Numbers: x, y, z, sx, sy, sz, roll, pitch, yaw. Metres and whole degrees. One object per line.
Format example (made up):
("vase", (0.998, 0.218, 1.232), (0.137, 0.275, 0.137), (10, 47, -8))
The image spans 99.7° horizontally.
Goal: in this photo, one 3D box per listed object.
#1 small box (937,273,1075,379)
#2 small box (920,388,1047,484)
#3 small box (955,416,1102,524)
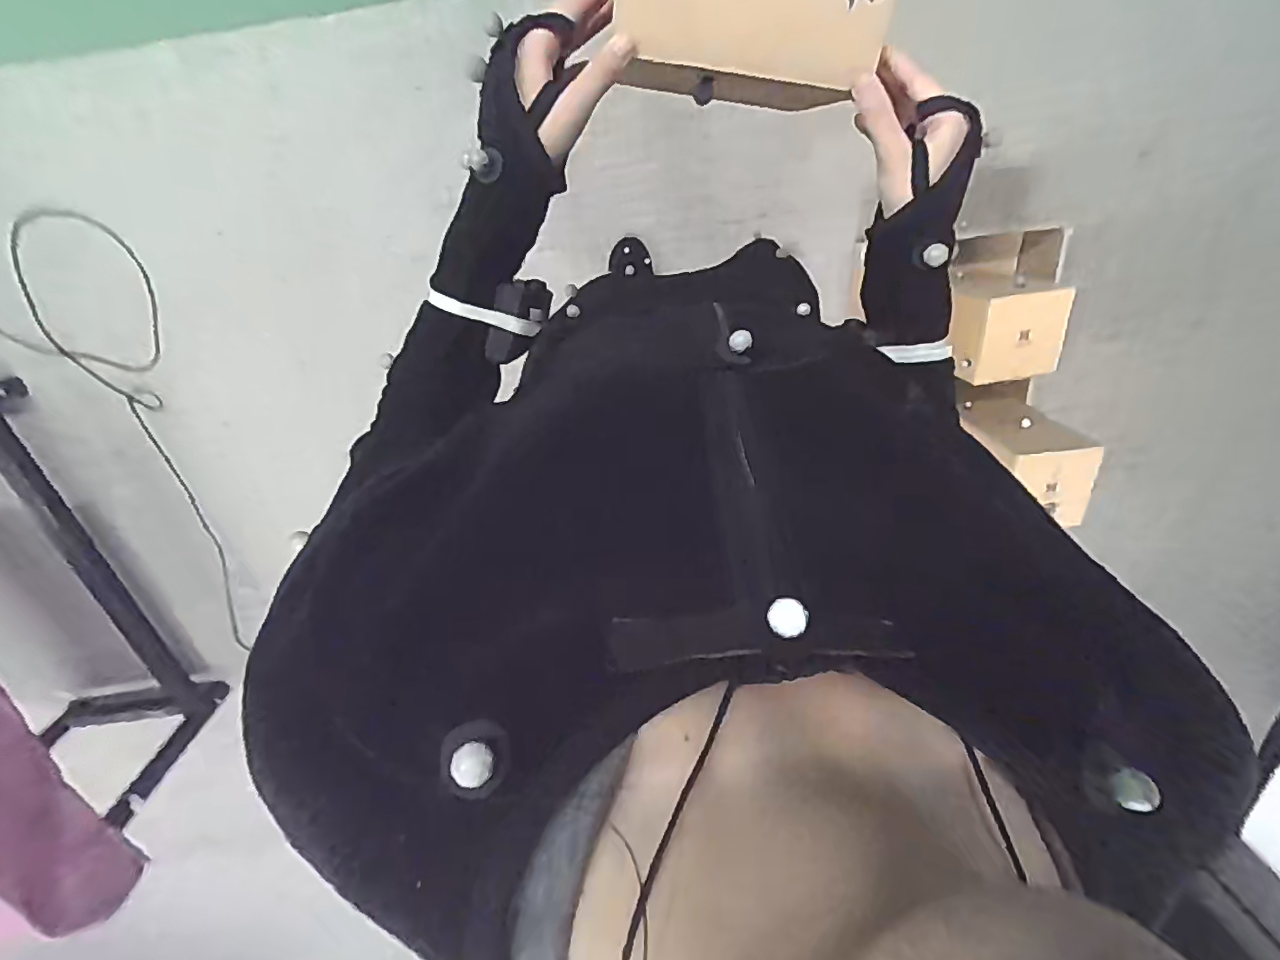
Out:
("small box", (0.750, -0.329, 1.132), (0.168, 0.176, 0.179), (-7, 119, 2))
("small box", (0.778, -0.105, 1.249), (0.179, 0.176, 0.168), (-5, 118, 1))
("small box", (0.780, -0.024, 1.111), (0.168, 0.176, 0.179), (-2, 113, 2))
